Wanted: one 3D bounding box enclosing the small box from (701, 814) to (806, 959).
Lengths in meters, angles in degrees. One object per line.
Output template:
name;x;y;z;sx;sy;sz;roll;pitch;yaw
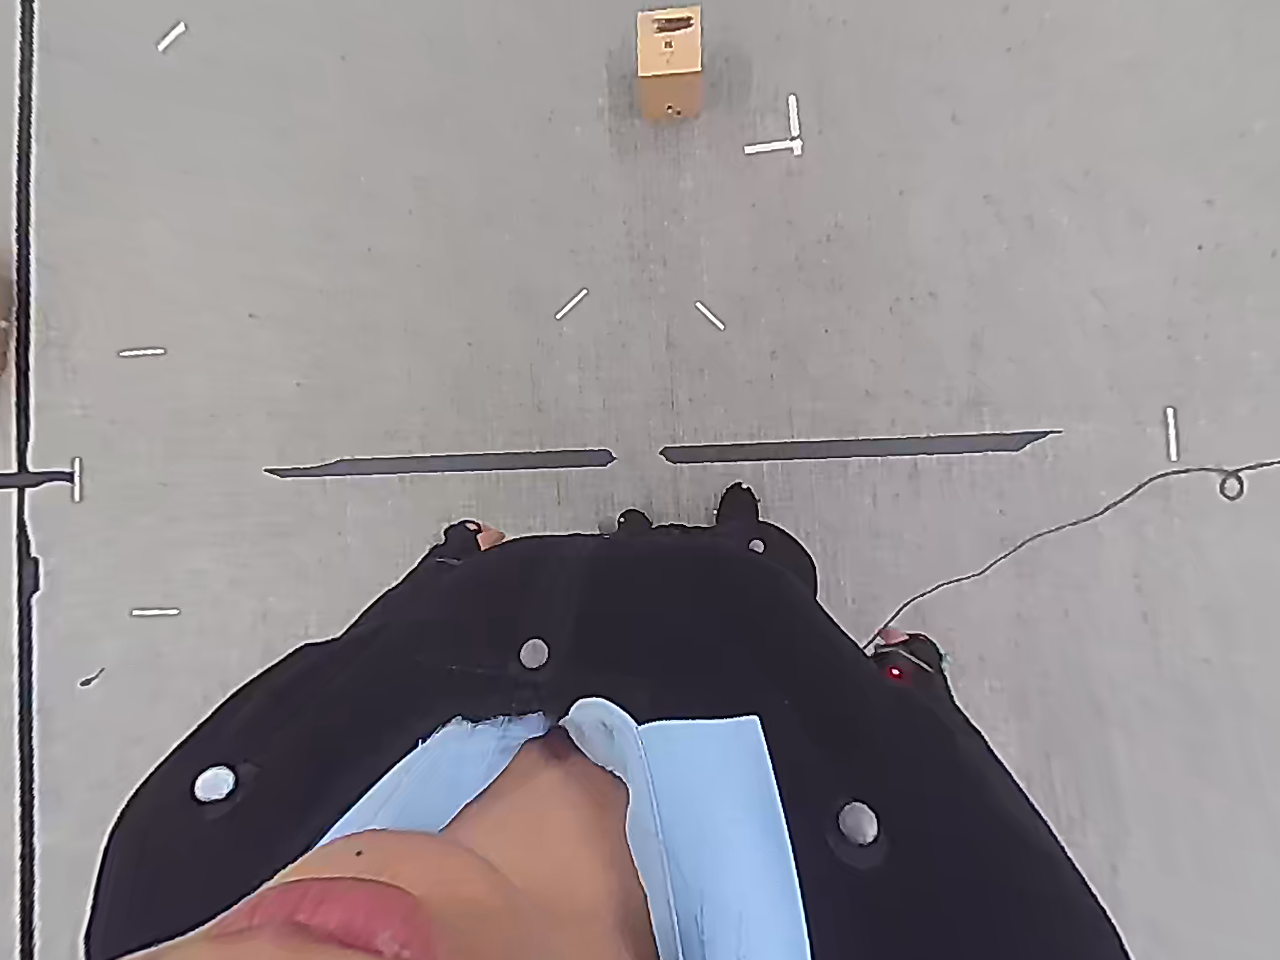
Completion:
small box;0.207;0.769;1.020;0.168;0.176;0.179;-7;86;5
